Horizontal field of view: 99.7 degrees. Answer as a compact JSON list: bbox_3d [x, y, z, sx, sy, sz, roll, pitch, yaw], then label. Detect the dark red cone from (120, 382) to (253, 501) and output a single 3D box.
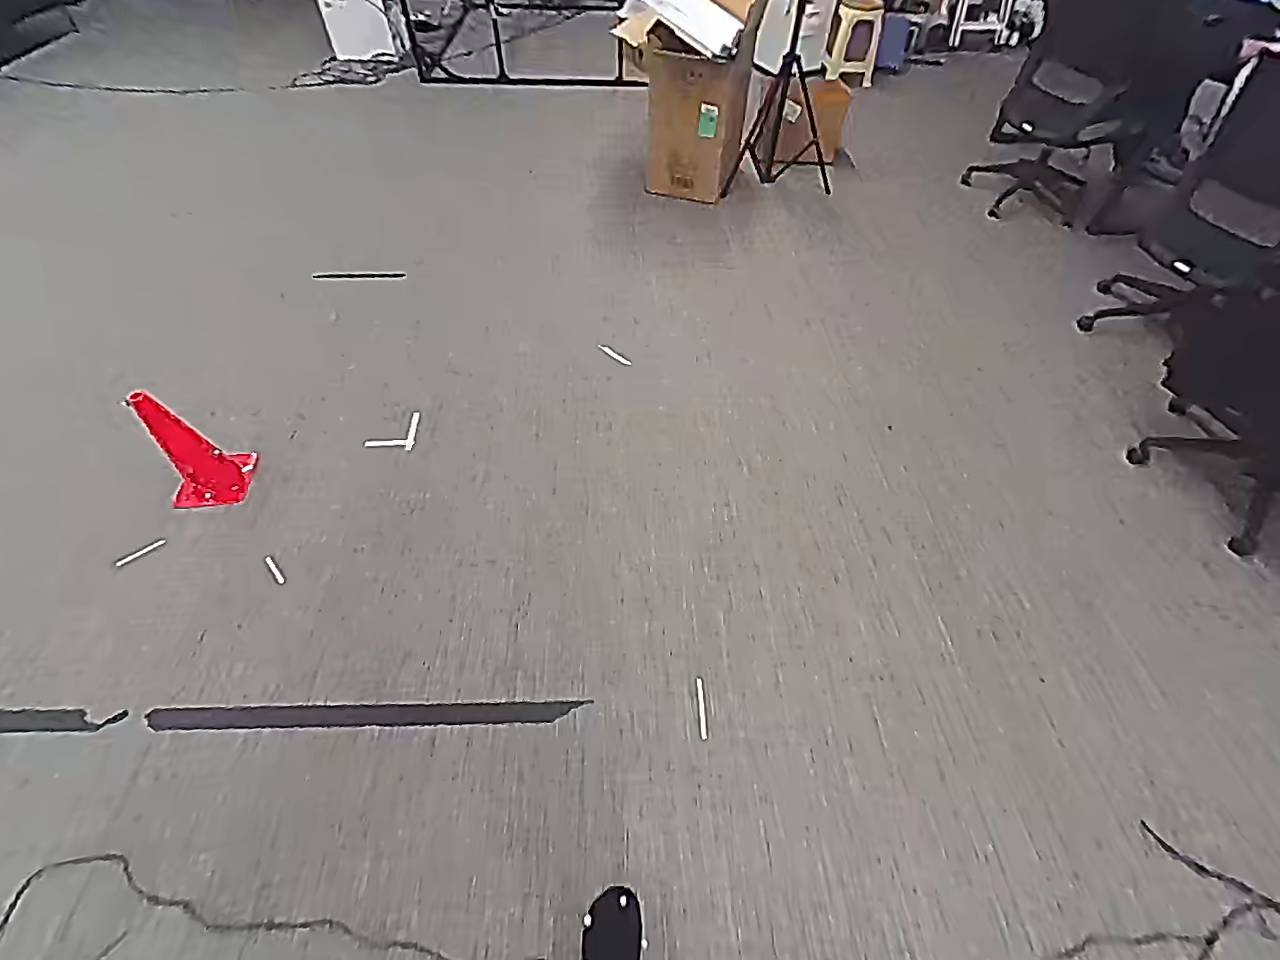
[{"bbox_3d":[-1.305,-0.121,1.523,0.202,0.394,0.201,-7,53,-7],"label":"dark red cone"}]
